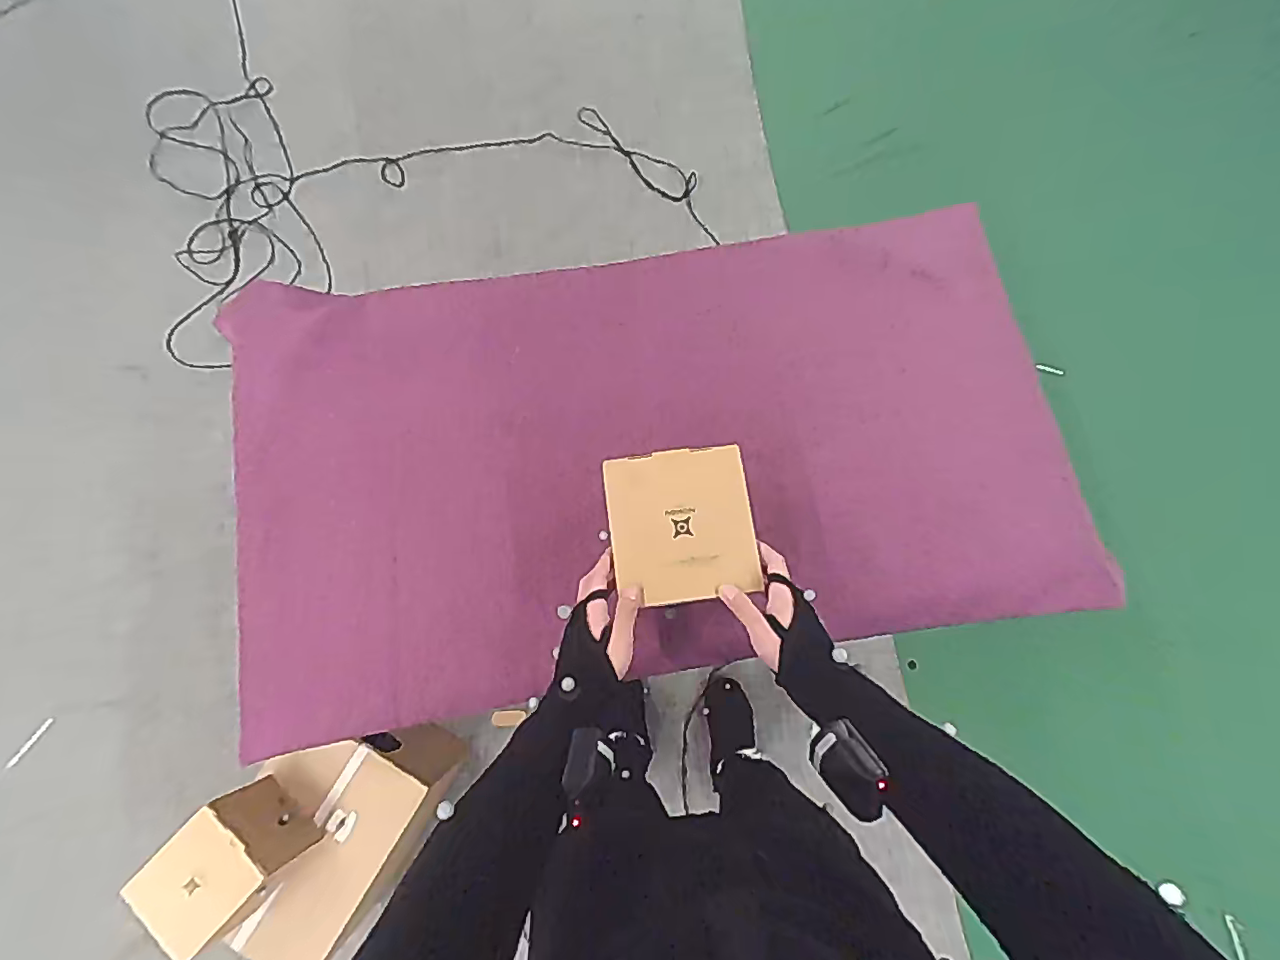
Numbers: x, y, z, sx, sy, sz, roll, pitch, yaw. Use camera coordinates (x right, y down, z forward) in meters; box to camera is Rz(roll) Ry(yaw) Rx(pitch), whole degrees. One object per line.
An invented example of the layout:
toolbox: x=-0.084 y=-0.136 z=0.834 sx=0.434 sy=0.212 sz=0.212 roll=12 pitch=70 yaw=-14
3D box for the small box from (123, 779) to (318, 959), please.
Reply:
small box: x=-0.725 y=0.675 z=0.957 sx=0.168 sy=0.176 sz=0.179 roll=41 pitch=79 yaw=10

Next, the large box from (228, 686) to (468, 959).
large box: x=-0.653 y=0.732 z=1.196 sx=0.320 sy=0.320 sz=0.408 roll=30 pitch=77 yaw=5

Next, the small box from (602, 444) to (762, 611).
small box: x=0.043 y=0.068 z=0.684 sx=0.168 sy=0.176 sz=0.179 roll=-7 pitch=77 yaw=-2
